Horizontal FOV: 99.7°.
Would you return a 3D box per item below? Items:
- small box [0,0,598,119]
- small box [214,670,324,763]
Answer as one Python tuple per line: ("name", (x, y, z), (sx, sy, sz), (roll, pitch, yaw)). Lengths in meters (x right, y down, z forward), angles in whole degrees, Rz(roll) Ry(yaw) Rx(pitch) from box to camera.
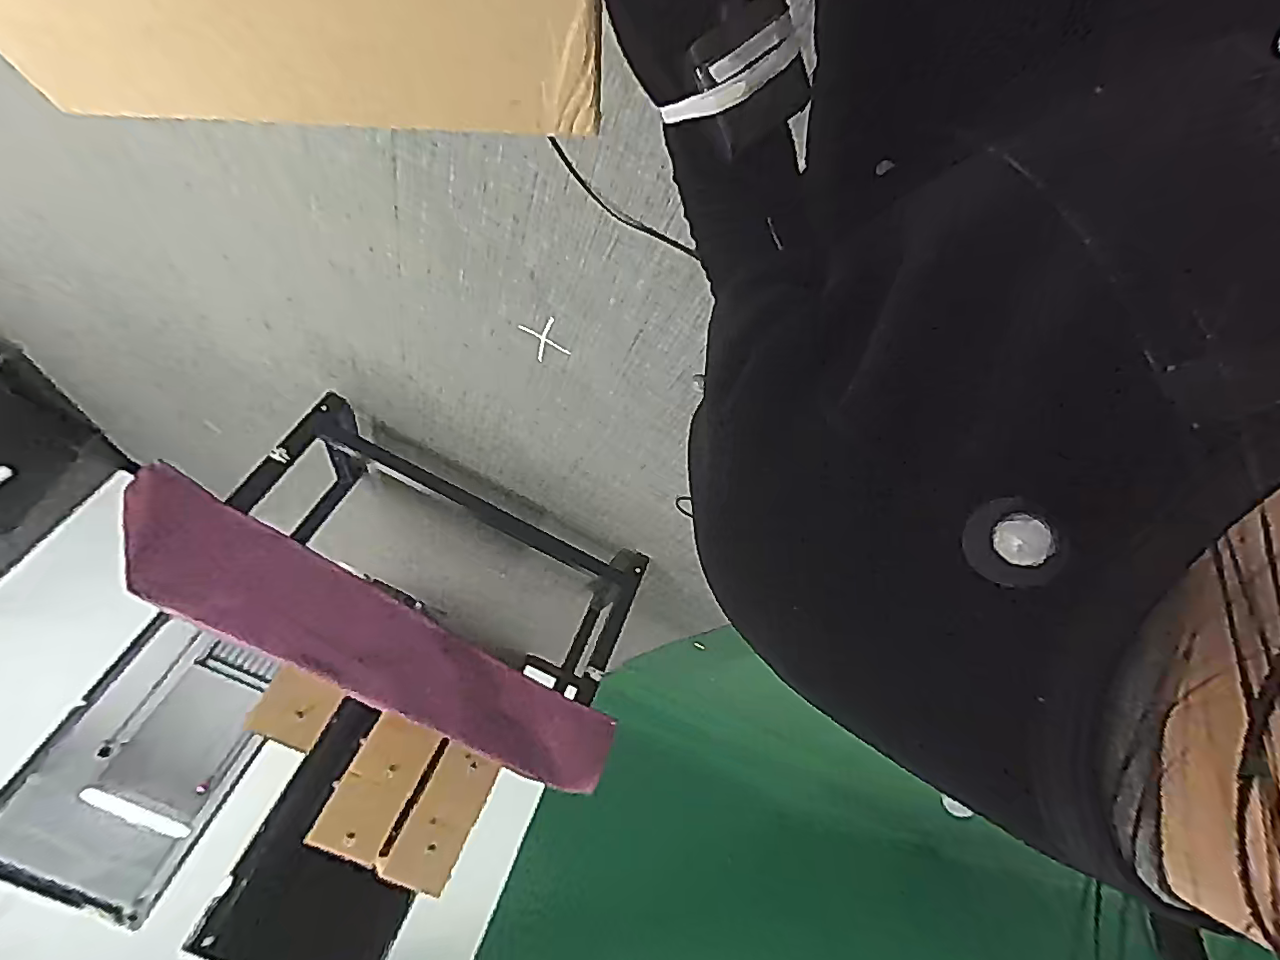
("small box", (-0.089, -0.216, 0.104), (0.168, 0.179, 0.176), (0, 165, -4))
("small box", (-0.963, 0.618, 1.423), (0.179, 0.176, 0.168), (33, 146, -14))
